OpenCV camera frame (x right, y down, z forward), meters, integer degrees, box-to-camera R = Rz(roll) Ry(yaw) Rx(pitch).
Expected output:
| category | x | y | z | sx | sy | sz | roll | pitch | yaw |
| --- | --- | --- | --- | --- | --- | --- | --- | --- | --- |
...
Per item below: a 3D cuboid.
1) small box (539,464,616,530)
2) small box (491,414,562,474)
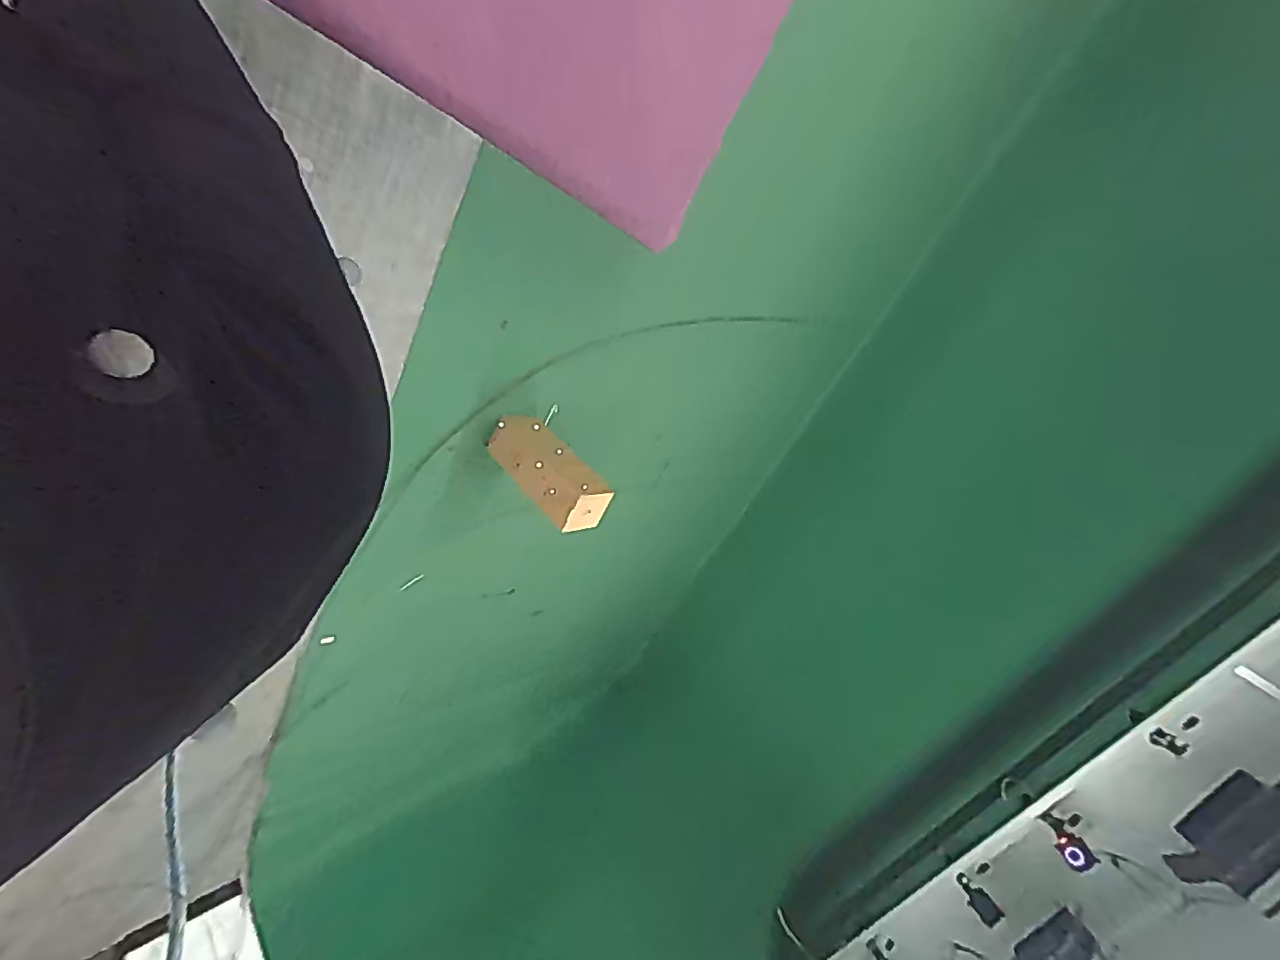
| category | x | y | z | sx | sy | sz | roll | pitch | yaw |
| --- | --- | --- | --- | --- | --- | --- | --- | --- | --- |
| small box | -0.224 | 0.055 | 1.922 | 0.179 | 0.176 | 0.168 | -5 | 131 | -51 |
| small box | -0.440 | -0.139 | 2.075 | 0.179 | 0.176 | 0.168 | -1 | 128 | -53 |
